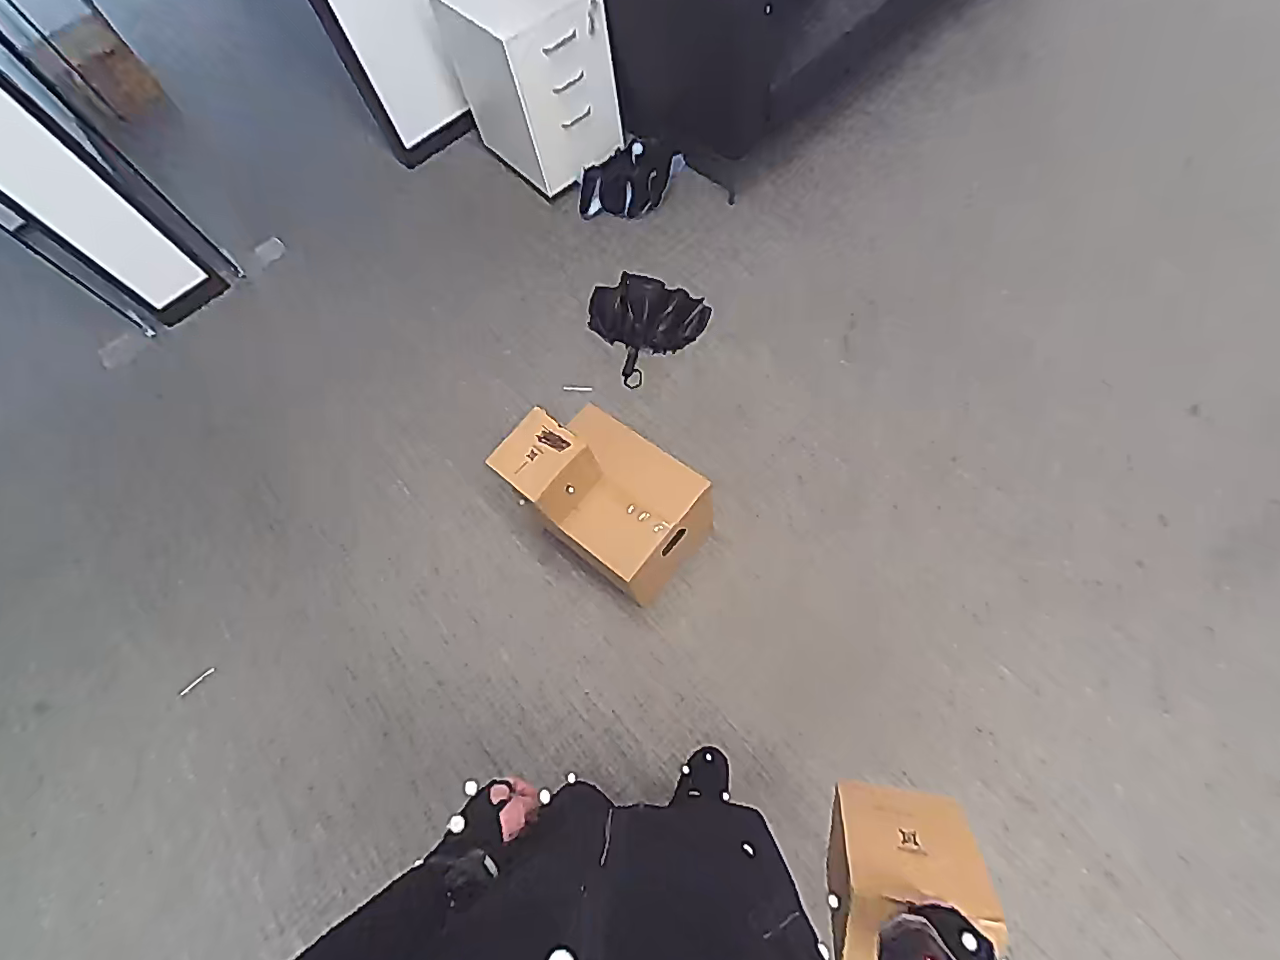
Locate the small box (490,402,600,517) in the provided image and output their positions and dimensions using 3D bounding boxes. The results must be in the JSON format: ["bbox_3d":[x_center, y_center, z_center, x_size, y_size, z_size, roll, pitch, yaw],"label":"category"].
[{"bbox_3d":[-0.211,-0.043,1.271,0.168,0.176,0.179,37,80,21],"label":"small box"}]

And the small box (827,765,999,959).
[{"bbox_3d":[0.347,0.527,0.721,0.168,0.179,0.176,4,107,14],"label":"small box"}]
